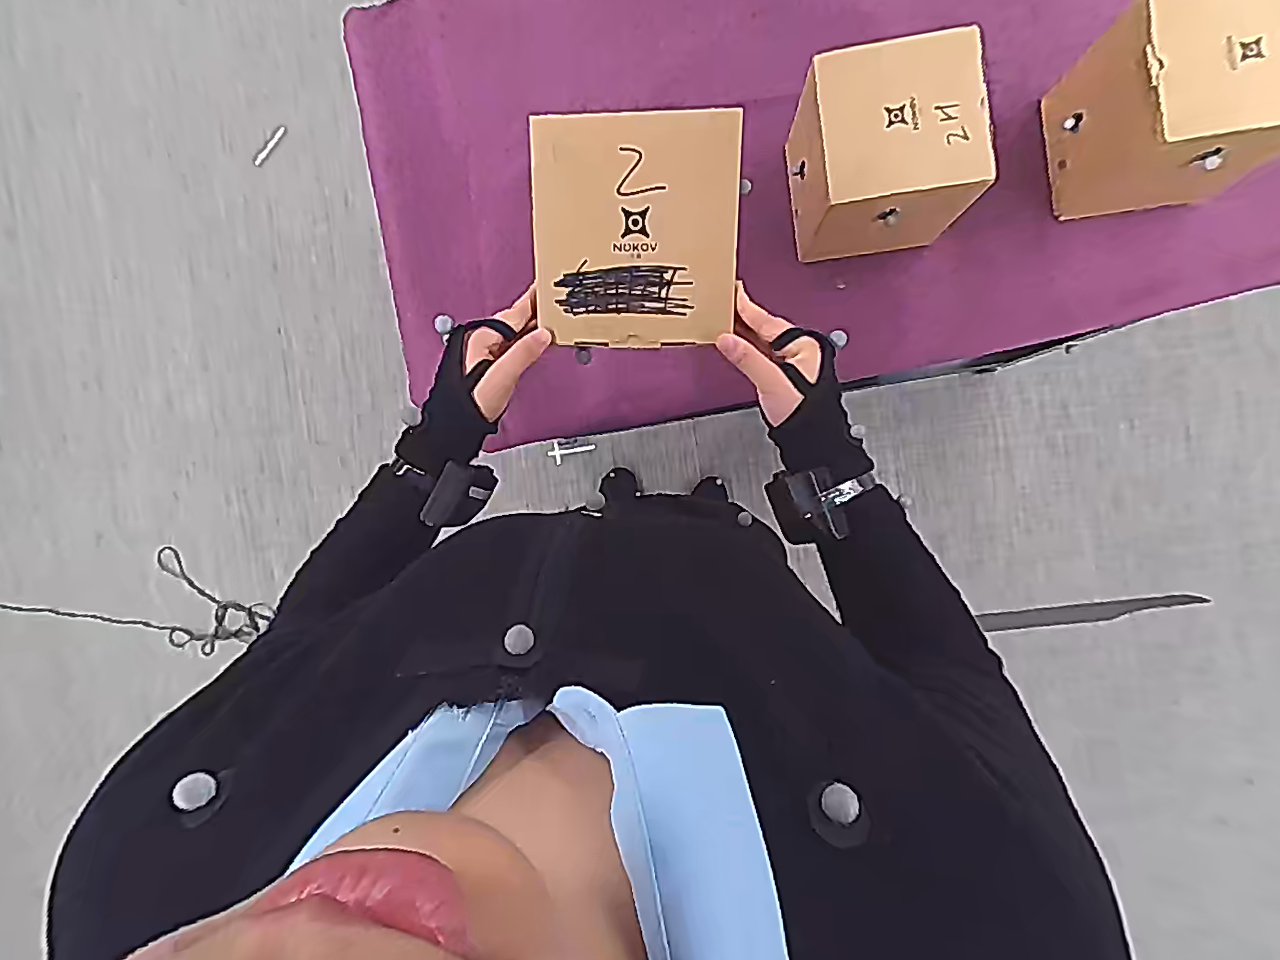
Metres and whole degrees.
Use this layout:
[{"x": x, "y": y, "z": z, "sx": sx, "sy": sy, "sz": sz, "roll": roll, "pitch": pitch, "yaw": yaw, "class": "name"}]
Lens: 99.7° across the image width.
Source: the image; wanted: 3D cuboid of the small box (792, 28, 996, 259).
[{"x": 0.288, "y": -0.387, "z": 0.655, "sx": 0.179, "sy": 0.176, "sz": 0.168, "roll": -6, "pitch": 91, "yaw": 4, "class": "small box"}]

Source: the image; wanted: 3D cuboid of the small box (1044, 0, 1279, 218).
[{"x": 0.619, "y": -0.432, "z": 0.627, "sx": 0.179, "sy": 0.176, "sz": 0.168, "roll": -6, "pitch": 89, "yaw": 6, "class": "small box"}]
